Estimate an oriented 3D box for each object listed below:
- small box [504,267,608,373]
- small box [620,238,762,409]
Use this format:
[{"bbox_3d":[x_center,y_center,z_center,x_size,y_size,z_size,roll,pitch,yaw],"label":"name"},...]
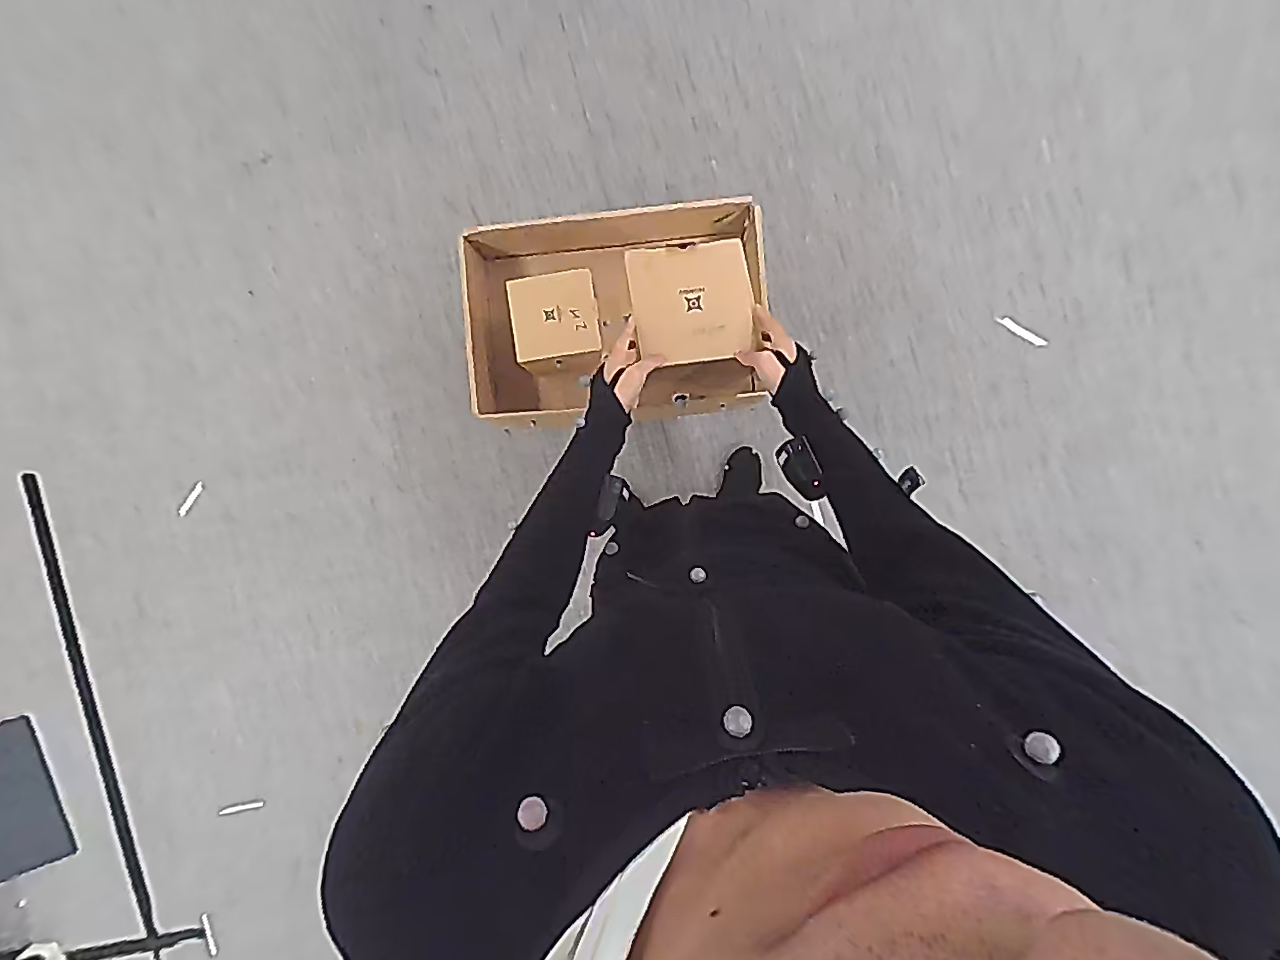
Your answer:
[{"bbox_3d":[-0.171,-0.330,1.149,0.179,0.176,0.168,-8,92,3],"label":"small box"},{"bbox_3d":[0.063,-0.222,0.795,0.168,0.176,0.179,-8,78,-5],"label":"small box"}]
